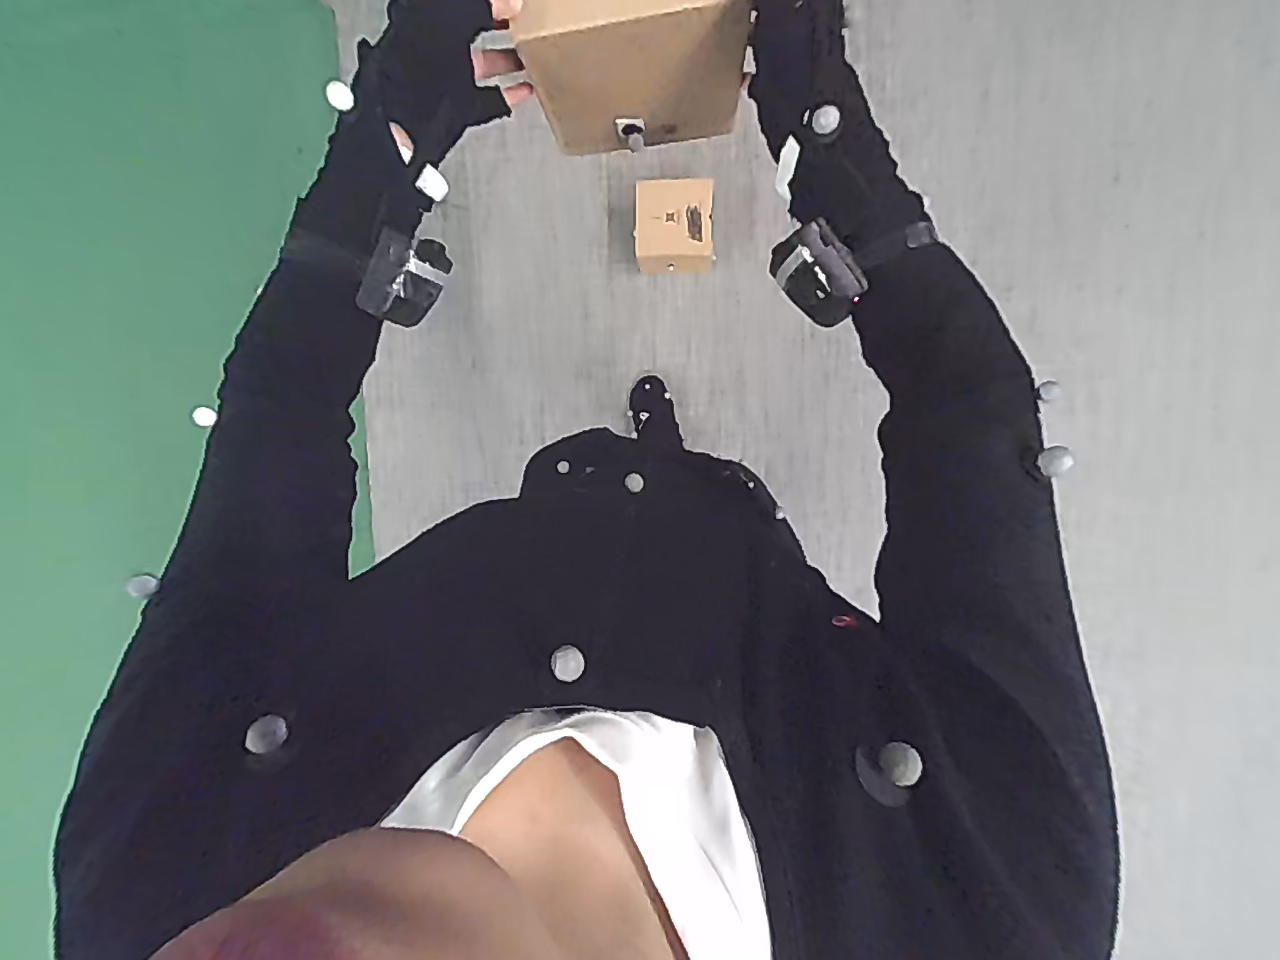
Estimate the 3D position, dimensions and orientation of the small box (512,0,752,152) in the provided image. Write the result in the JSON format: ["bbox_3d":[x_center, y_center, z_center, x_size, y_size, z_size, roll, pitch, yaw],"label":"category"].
[{"bbox_3d":[-0.007,-0.407,0.437,0.168,0.176,0.179,-6,95,6],"label":"small box"}]

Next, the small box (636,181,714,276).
[{"bbox_3d":[0.085,-0.598,1.300,0.179,0.176,0.168,1,96,6],"label":"small box"}]
